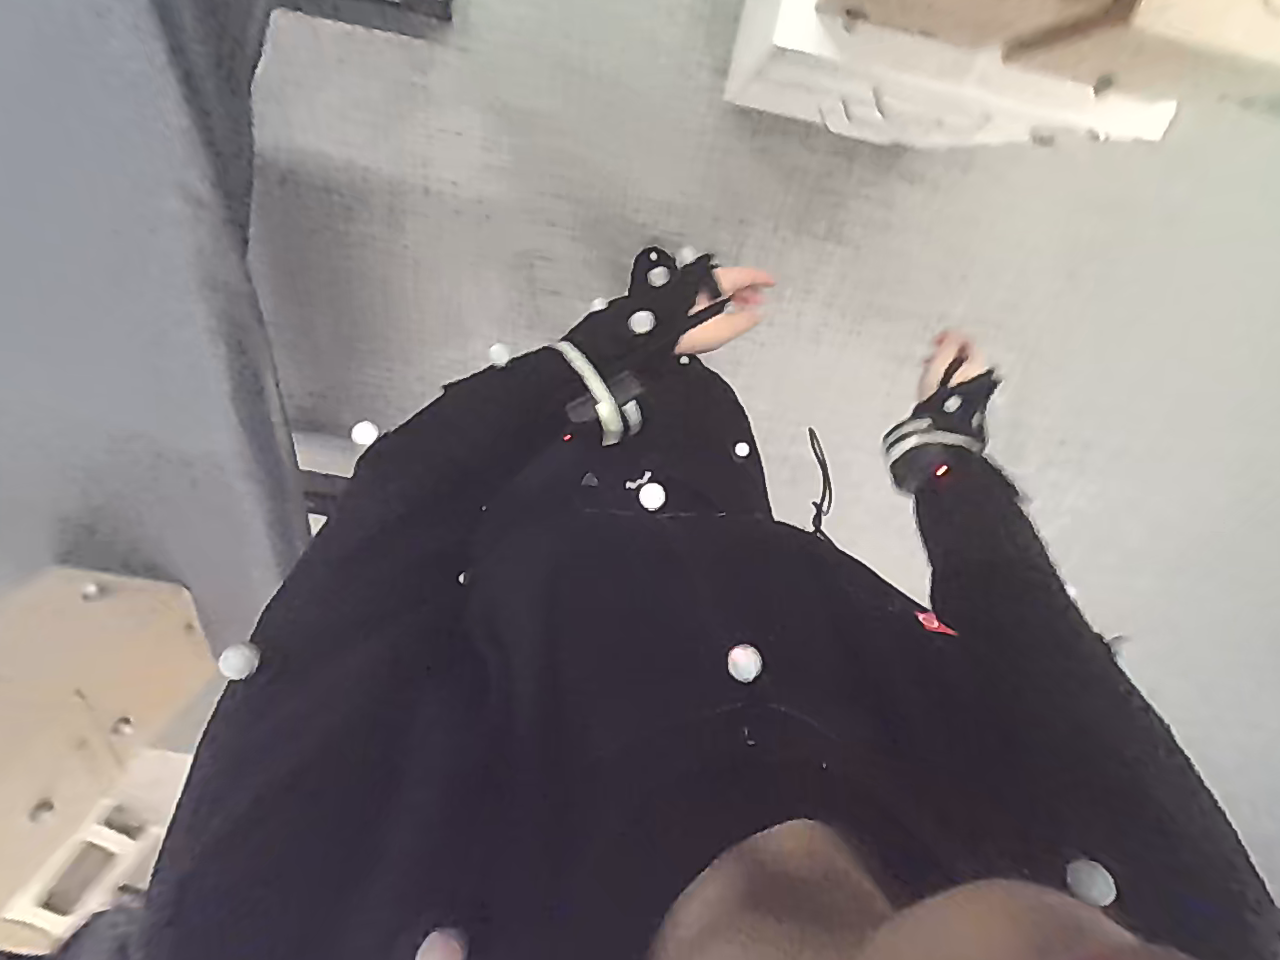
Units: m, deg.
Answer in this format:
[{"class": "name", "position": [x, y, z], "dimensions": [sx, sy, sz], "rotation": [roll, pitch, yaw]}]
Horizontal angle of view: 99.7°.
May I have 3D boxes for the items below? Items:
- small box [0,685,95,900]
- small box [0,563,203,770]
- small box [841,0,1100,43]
[{"class": "small box", "position": [-0.709, 0.315, 0.537], "dimensions": [0.179, 0.176, 0.168], "rotation": [11, 120, -4]}, {"class": "small box", "position": [-0.708, 0.224, 0.676], "dimensions": [0.179, 0.176, 0.168], "rotation": [10, 121, -3]}, {"class": "small box", "position": [0.253, -0.448, 0.386], "dimensions": [0.168, 0.176, 0.179], "rotation": [11, 120, -5]}]
